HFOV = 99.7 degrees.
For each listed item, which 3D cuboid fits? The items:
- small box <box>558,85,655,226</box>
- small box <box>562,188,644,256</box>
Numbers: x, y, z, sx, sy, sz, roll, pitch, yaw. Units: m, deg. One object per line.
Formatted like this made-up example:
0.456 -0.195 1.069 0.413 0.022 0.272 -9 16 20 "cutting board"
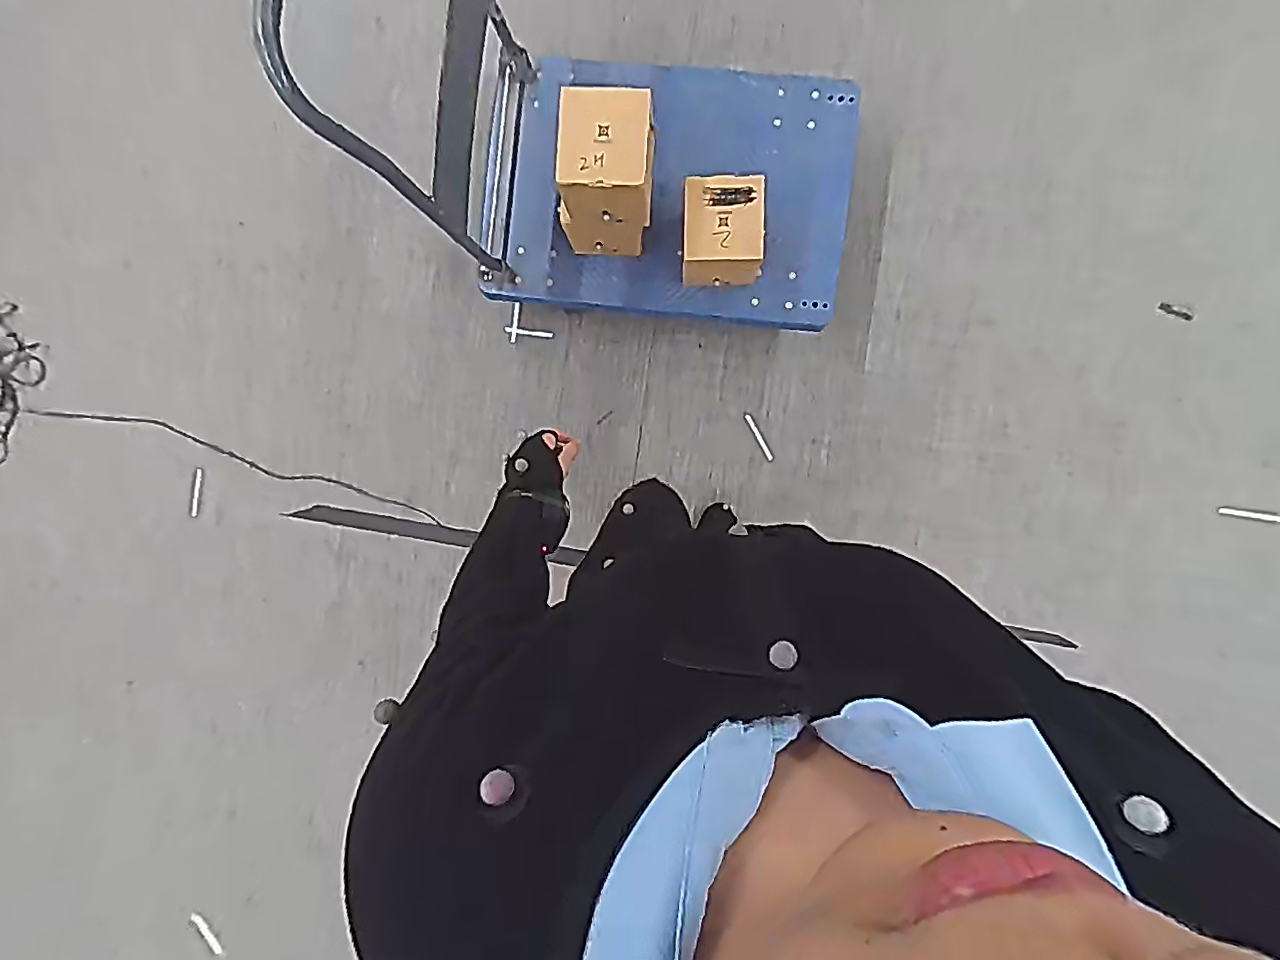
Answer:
-0.058 -0.620 1.049 0.168 0.176 0.179 4 93 4 "small box"
-0.075 -0.628 1.215 0.168 0.176 0.179 4 92 3 "small box"
